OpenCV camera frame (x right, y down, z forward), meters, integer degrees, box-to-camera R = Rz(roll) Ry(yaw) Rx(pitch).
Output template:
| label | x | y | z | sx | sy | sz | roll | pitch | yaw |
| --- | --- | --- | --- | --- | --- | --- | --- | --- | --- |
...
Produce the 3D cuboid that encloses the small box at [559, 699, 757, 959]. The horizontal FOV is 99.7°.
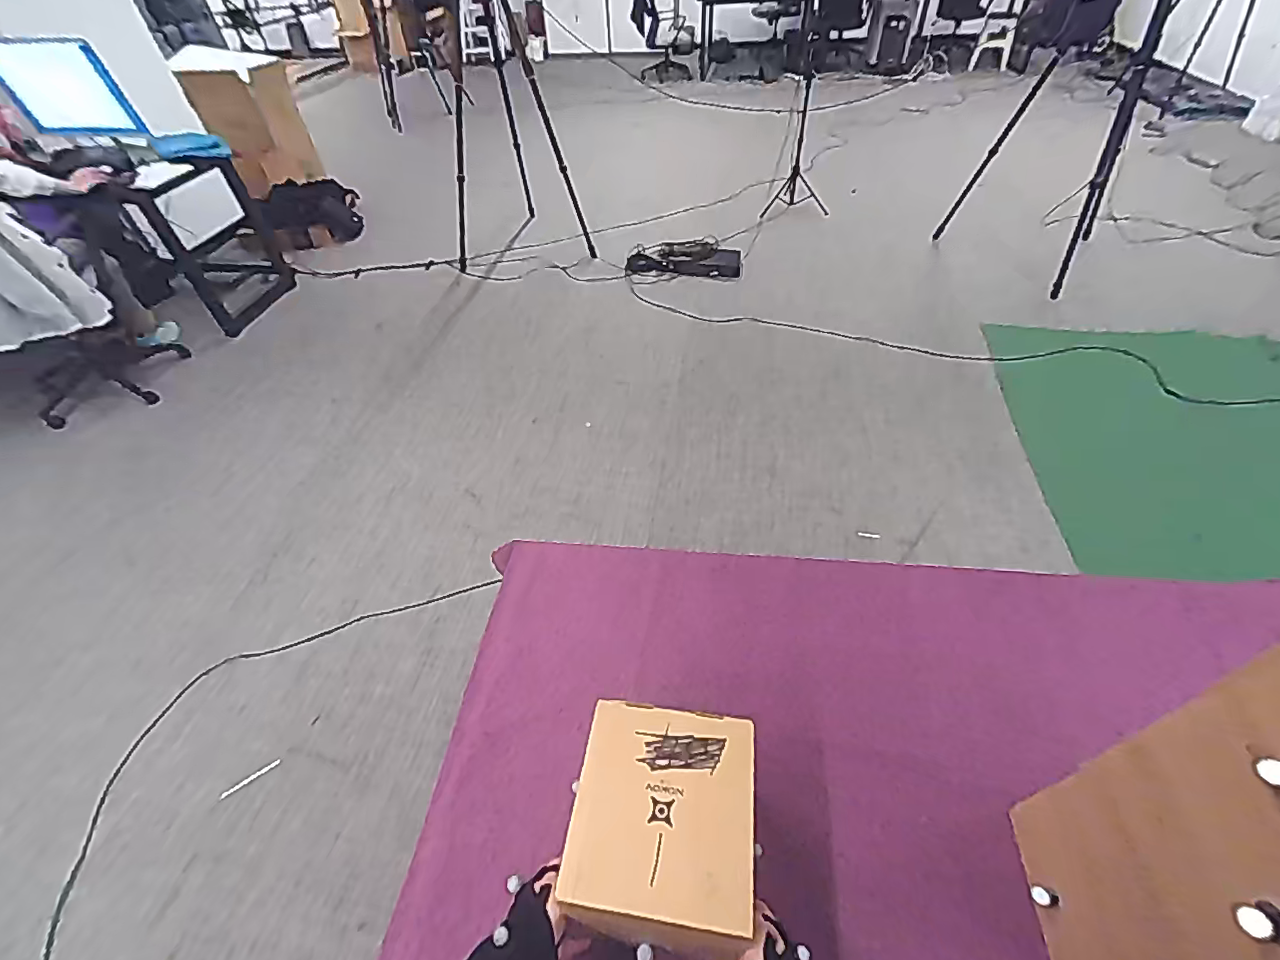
| label | x | y | z | sx | sy | sz | roll | pitch | yaw |
| --- | --- | --- | --- | --- | --- | --- | --- | --- | --- |
| small box | 0.026 | 0.356 | 0.554 | 0.168 | 0.176 | 0.179 | 5 | 43 | 8 |
